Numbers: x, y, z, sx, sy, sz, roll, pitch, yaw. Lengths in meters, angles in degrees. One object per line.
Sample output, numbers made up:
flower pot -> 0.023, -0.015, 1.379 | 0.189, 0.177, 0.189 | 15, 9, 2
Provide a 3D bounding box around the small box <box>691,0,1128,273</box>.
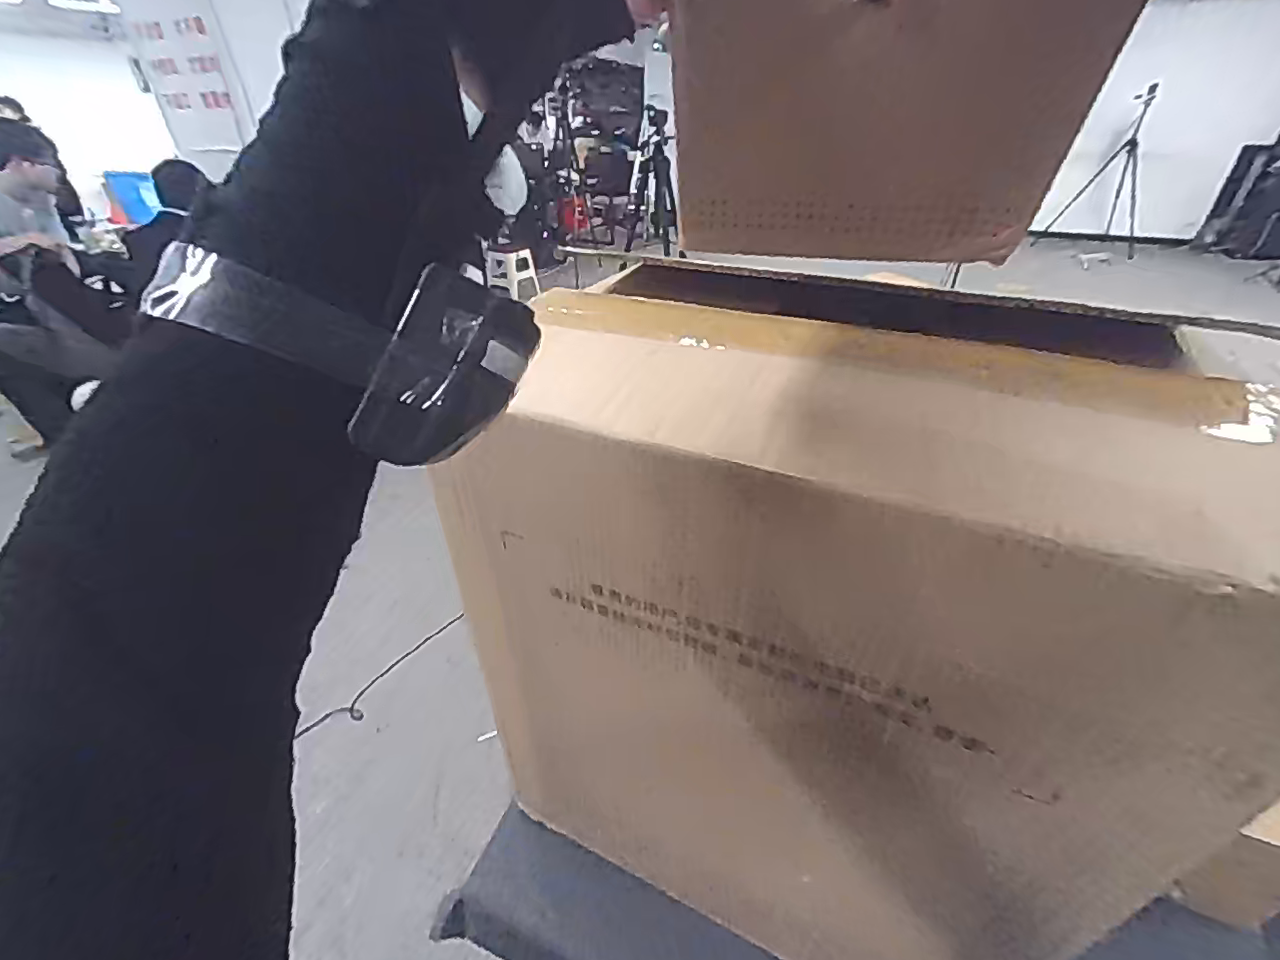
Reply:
small box -> 0.124, -0.231, 0.284 | 0.179, 0.176, 0.168 | 9, 59, 12
